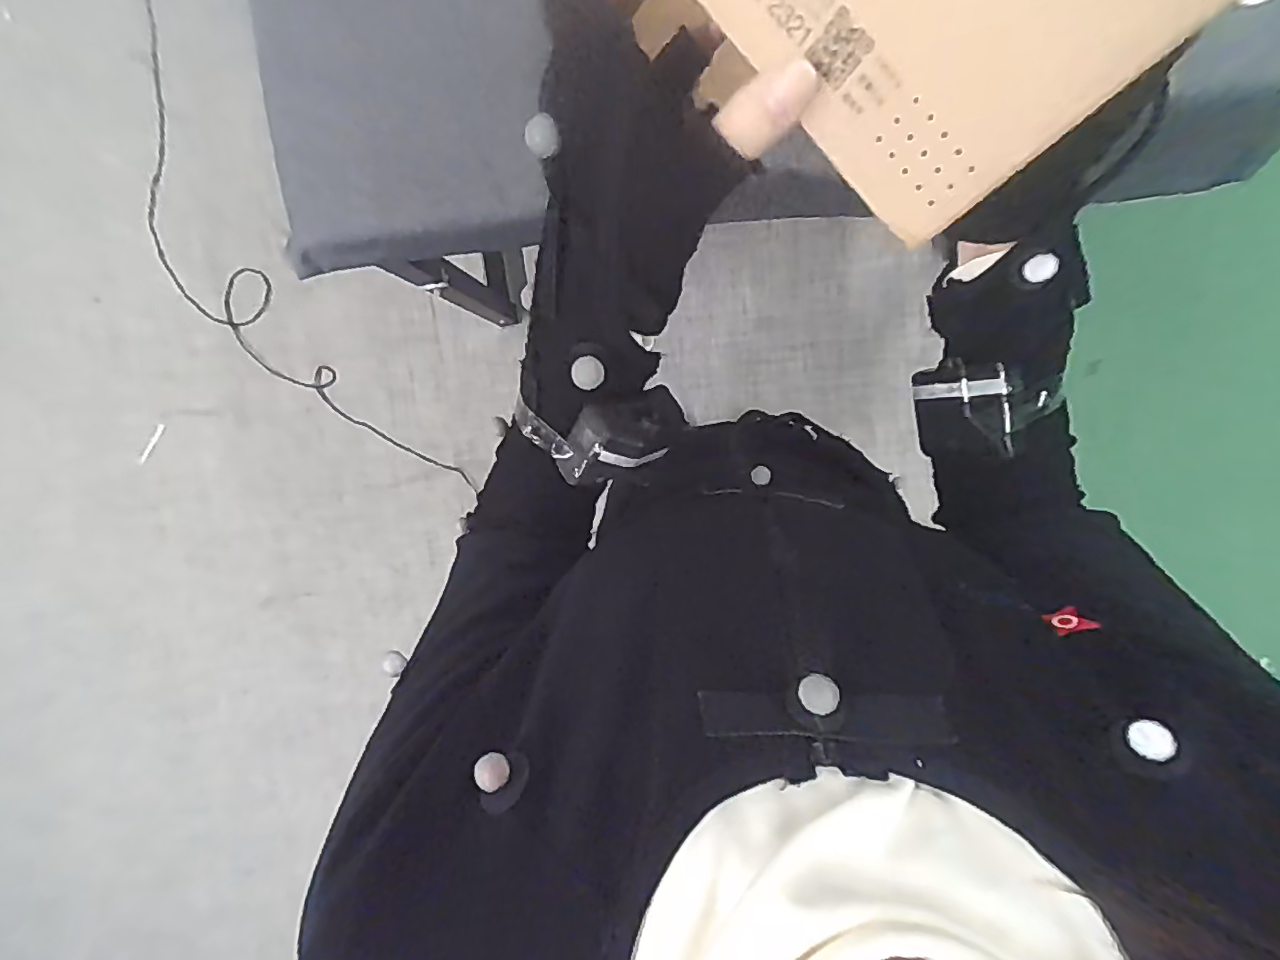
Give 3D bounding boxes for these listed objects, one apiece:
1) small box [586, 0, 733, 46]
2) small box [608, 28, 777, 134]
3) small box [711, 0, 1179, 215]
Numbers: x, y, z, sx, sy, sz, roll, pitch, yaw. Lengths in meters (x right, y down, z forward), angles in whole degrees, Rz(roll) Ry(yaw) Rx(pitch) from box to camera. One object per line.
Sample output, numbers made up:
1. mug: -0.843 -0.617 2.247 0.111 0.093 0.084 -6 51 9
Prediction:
1. small box: 0.033 -0.477 0.406 0.179 0.176 0.168 -4 94 6
2. small box: 0.058 -0.493 0.566 0.179 0.176 0.168 -2 95 5
3. small box: 0.119 -0.222 0.170 0.168 0.179 0.176 47 140 -5
